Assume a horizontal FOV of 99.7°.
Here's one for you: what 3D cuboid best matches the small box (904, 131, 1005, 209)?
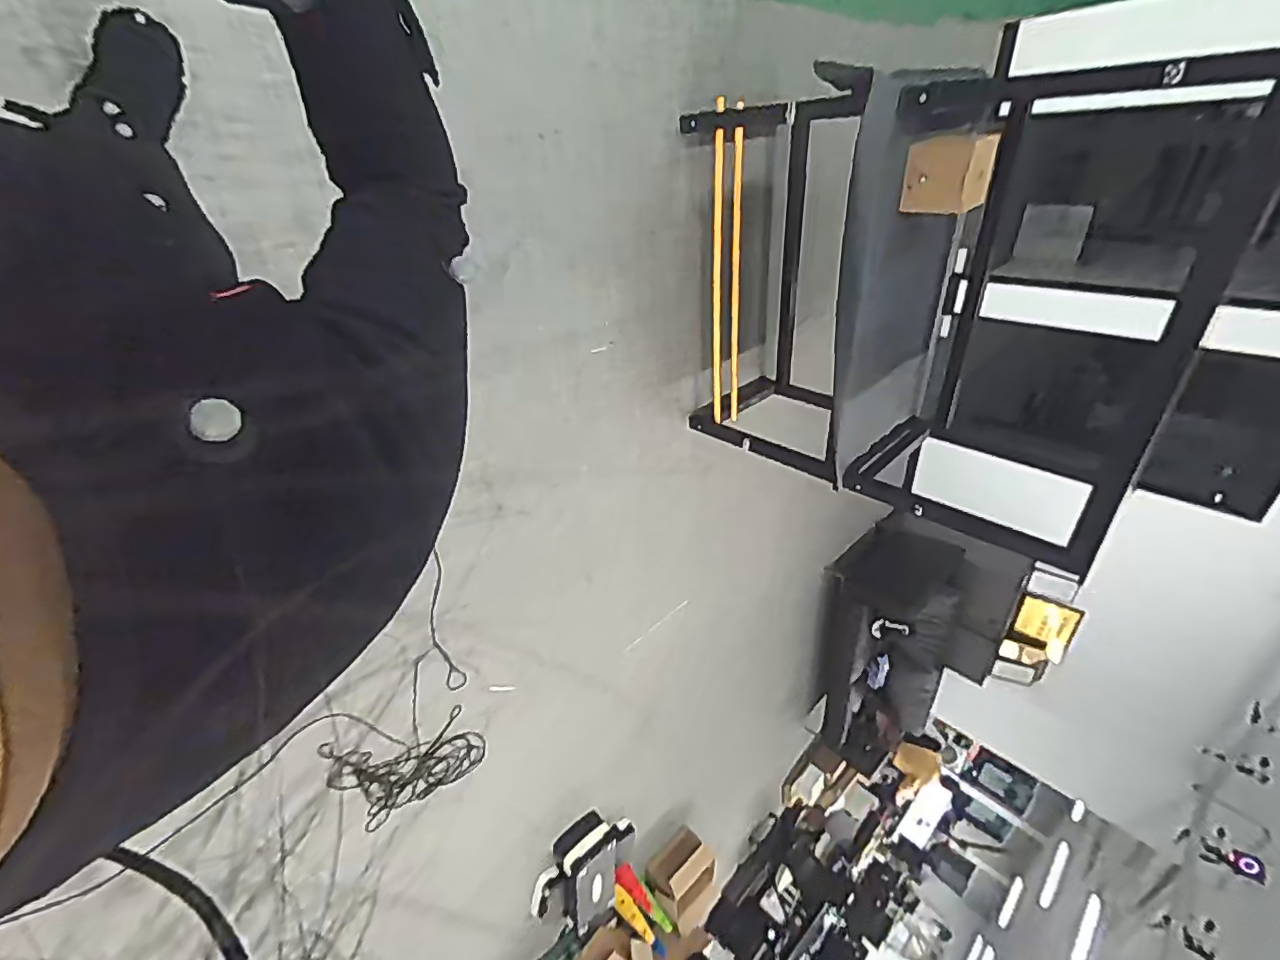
[{"bbox_3d":[0.857,-0.852,1.482,0.179,0.176,0.168,-32,131,-32],"label":"small box"}]
